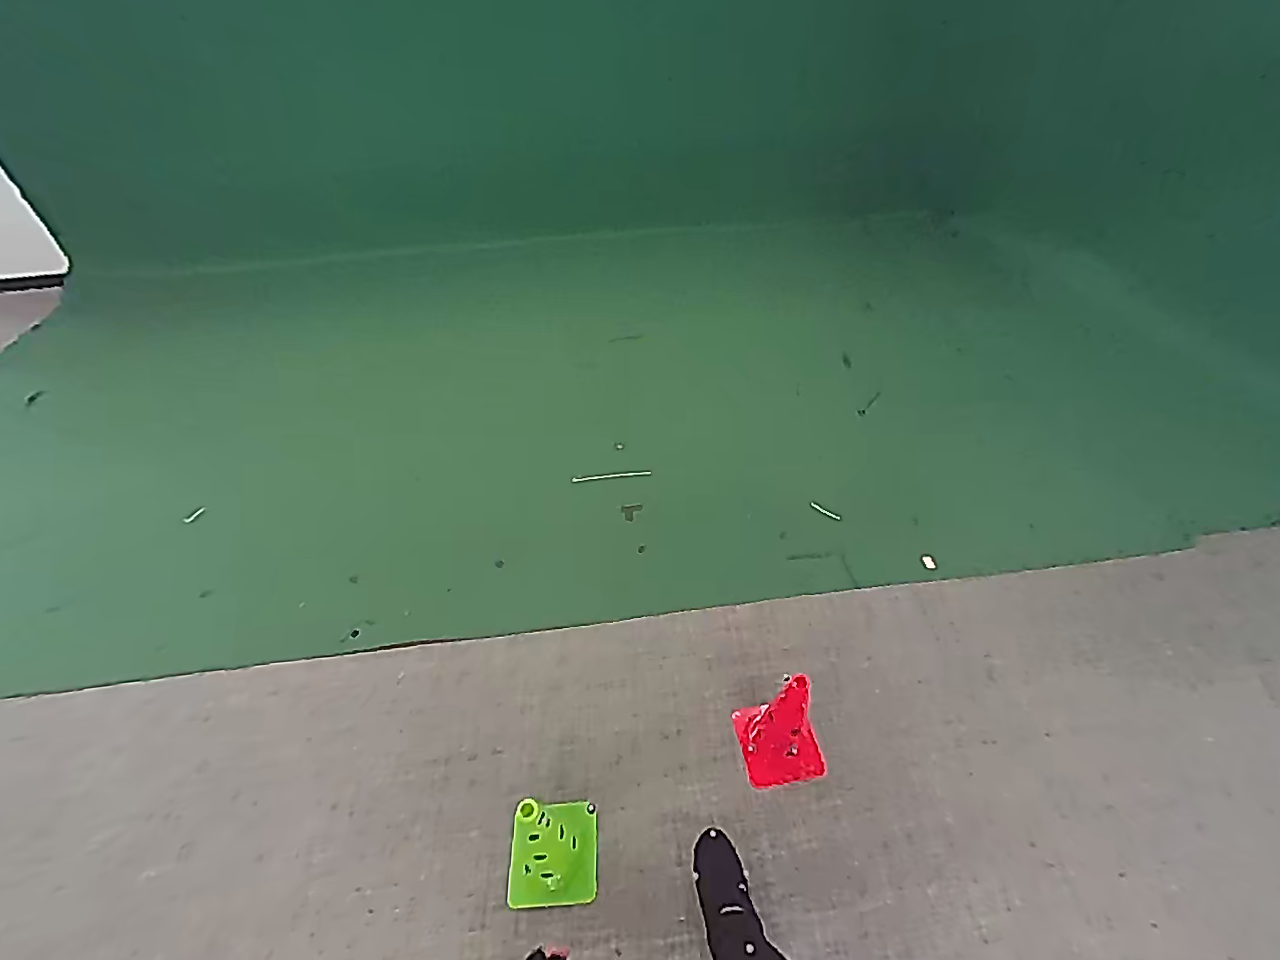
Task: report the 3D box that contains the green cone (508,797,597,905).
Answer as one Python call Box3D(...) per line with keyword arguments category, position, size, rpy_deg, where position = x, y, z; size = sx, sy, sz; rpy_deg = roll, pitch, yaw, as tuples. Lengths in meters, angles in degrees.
Box3D(category="green cone", position=(-0.209, 0.741, 1.141), size=(0.200, 0.368, 0.202), rpy_deg=(-5, 46, -1))
